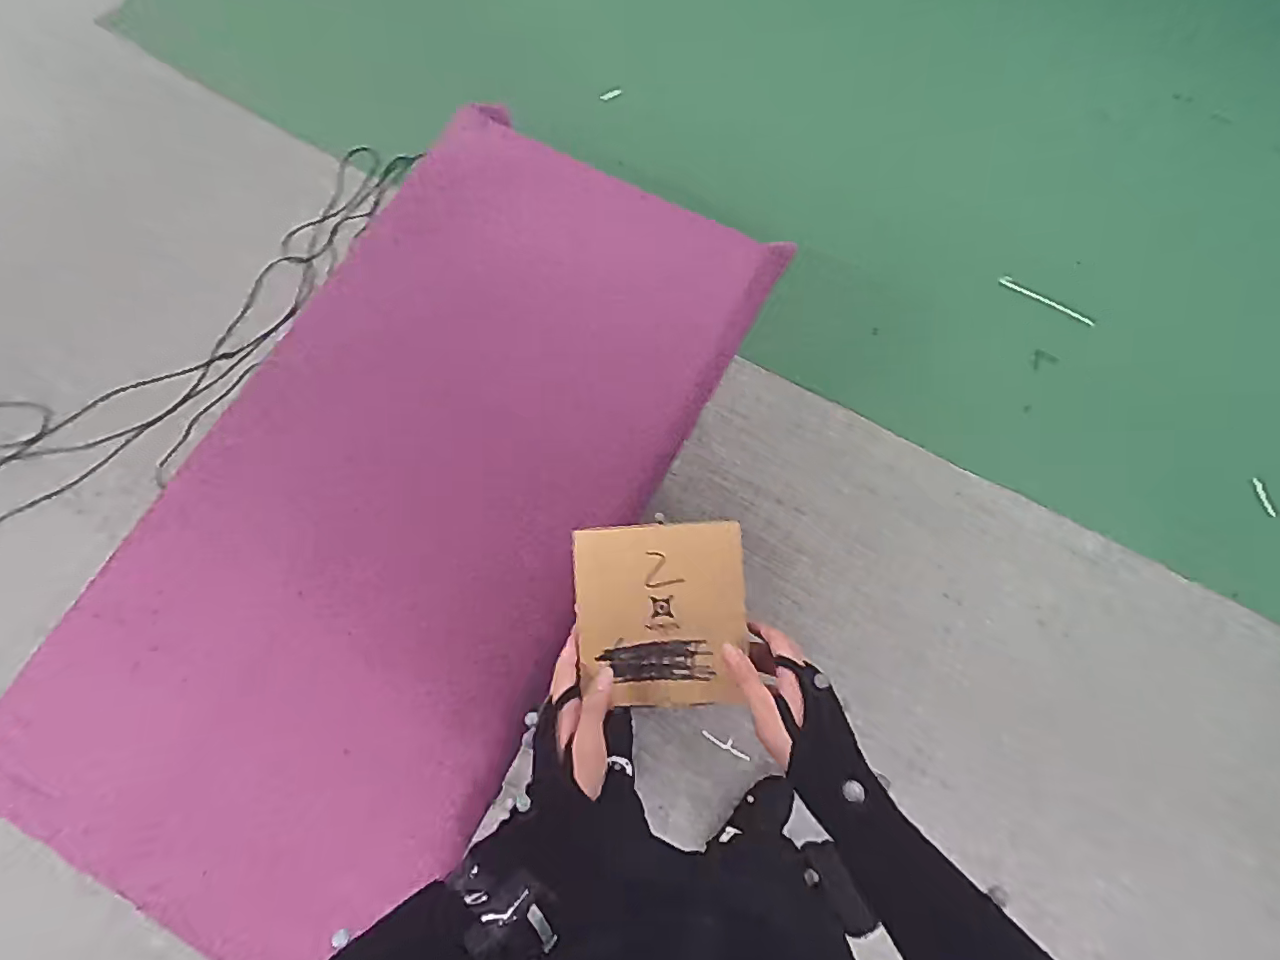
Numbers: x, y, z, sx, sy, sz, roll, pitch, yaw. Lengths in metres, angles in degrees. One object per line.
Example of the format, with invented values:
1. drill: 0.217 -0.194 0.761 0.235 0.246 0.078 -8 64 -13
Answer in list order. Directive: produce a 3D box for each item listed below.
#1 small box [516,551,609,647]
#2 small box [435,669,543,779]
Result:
1. small box: -0.188 0.304 1.374 0.168 0.176 0.179 28 77 8
2. small box: -0.351 0.575 1.302 0.168 0.176 0.179 27 76 7
